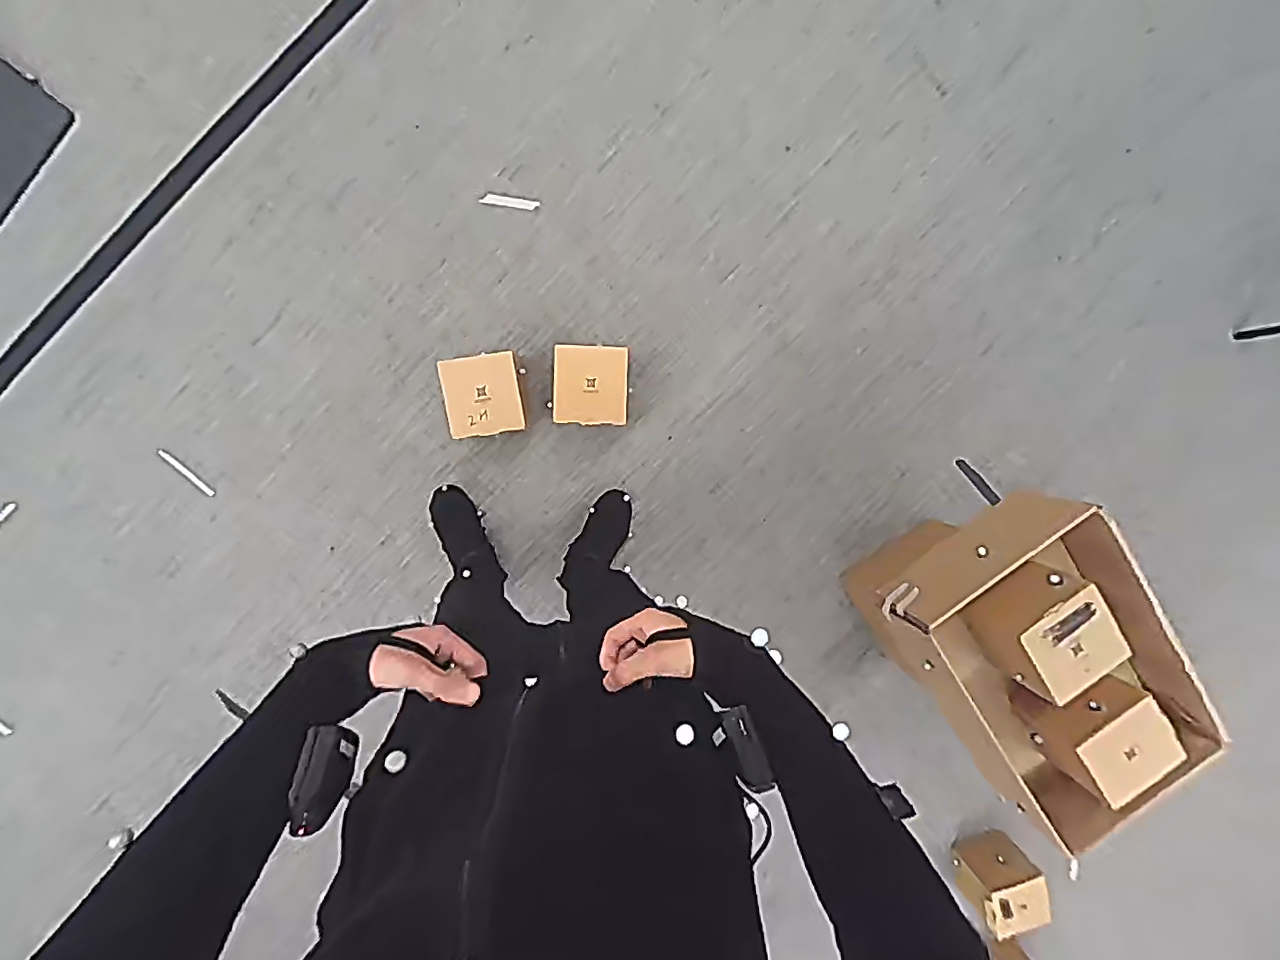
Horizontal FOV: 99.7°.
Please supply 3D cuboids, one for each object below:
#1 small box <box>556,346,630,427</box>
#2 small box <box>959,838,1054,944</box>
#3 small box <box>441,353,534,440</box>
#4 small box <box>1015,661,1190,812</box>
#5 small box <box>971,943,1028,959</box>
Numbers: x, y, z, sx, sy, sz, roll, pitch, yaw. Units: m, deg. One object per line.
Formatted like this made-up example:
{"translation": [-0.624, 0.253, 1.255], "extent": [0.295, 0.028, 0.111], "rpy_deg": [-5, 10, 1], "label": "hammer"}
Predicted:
{"translation": [-0.116, -0.221, 1.296], "extent": [0.168, 0.176, 0.179], "rpy_deg": [1, 99, -6], "label": "small box"}
{"translation": [1.089, 1.225, 1.623], "extent": [0.179, 0.176, 0.168], "rpy_deg": [-14, 99, -4], "label": "small box"}
{"translation": [-0.351, -0.195, 1.274], "extent": [0.168, 0.176, 0.179], "rpy_deg": [-9, 100, -4], "label": "small box"}
{"translation": [0.905, 0.495, 1.073], "extent": [0.179, 0.176, 0.168], "rpy_deg": [-36, 99, -3], "label": "small box"}
{"translation": [1.167, 1.608, 1.686], "extent": [0.179, 0.176, 0.168], "rpy_deg": [-21, 99, -3], "label": "small box"}
